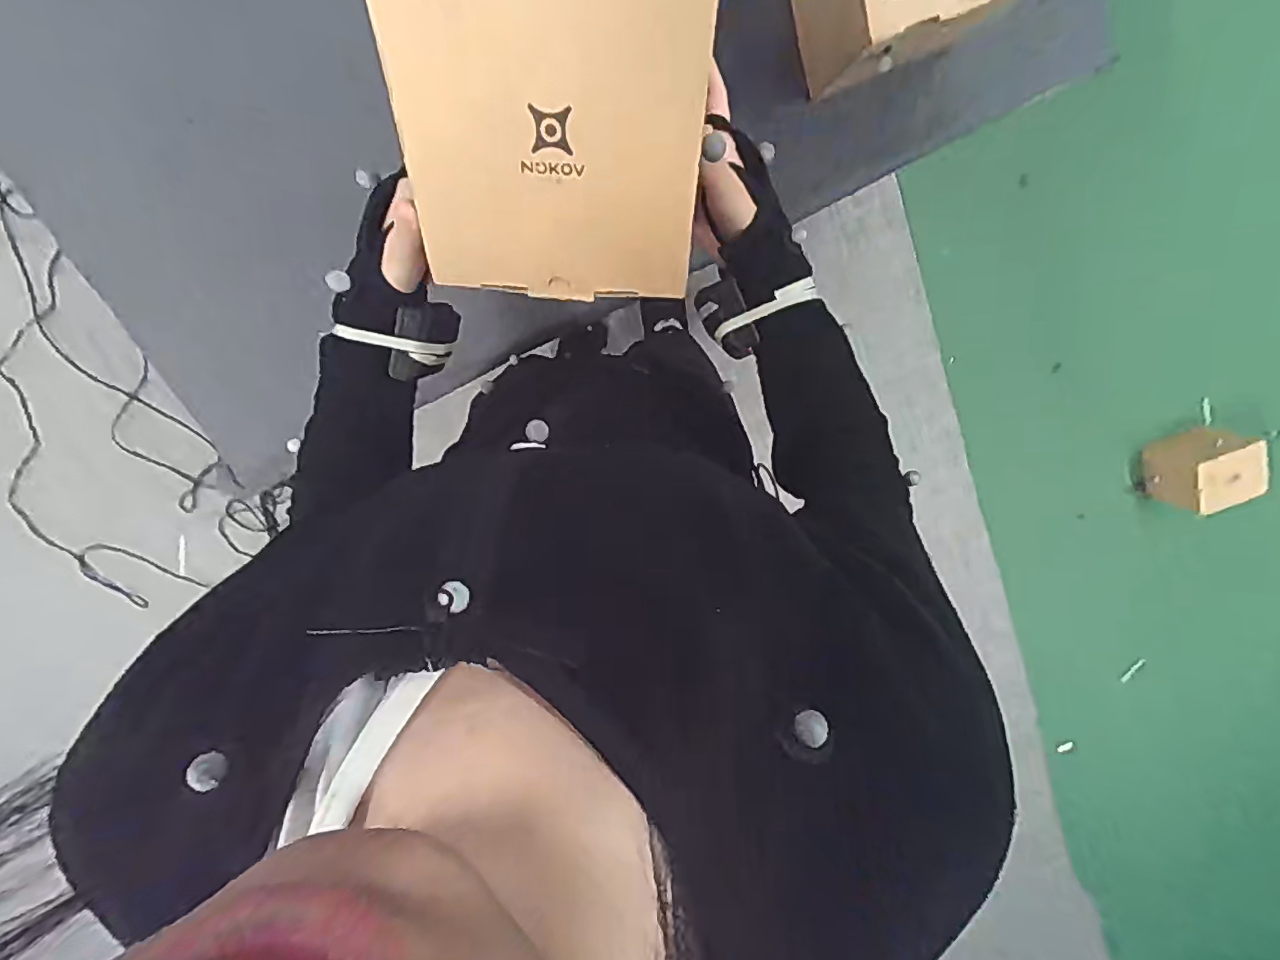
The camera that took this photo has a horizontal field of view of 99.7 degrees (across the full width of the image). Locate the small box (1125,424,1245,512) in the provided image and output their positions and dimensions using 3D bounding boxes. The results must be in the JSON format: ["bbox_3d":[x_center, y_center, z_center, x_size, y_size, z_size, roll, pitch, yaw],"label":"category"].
[{"bbox_3d":[1.542,-0.040,1.535,0.179,0.176,0.168,-24,110,5],"label":"small box"}]
